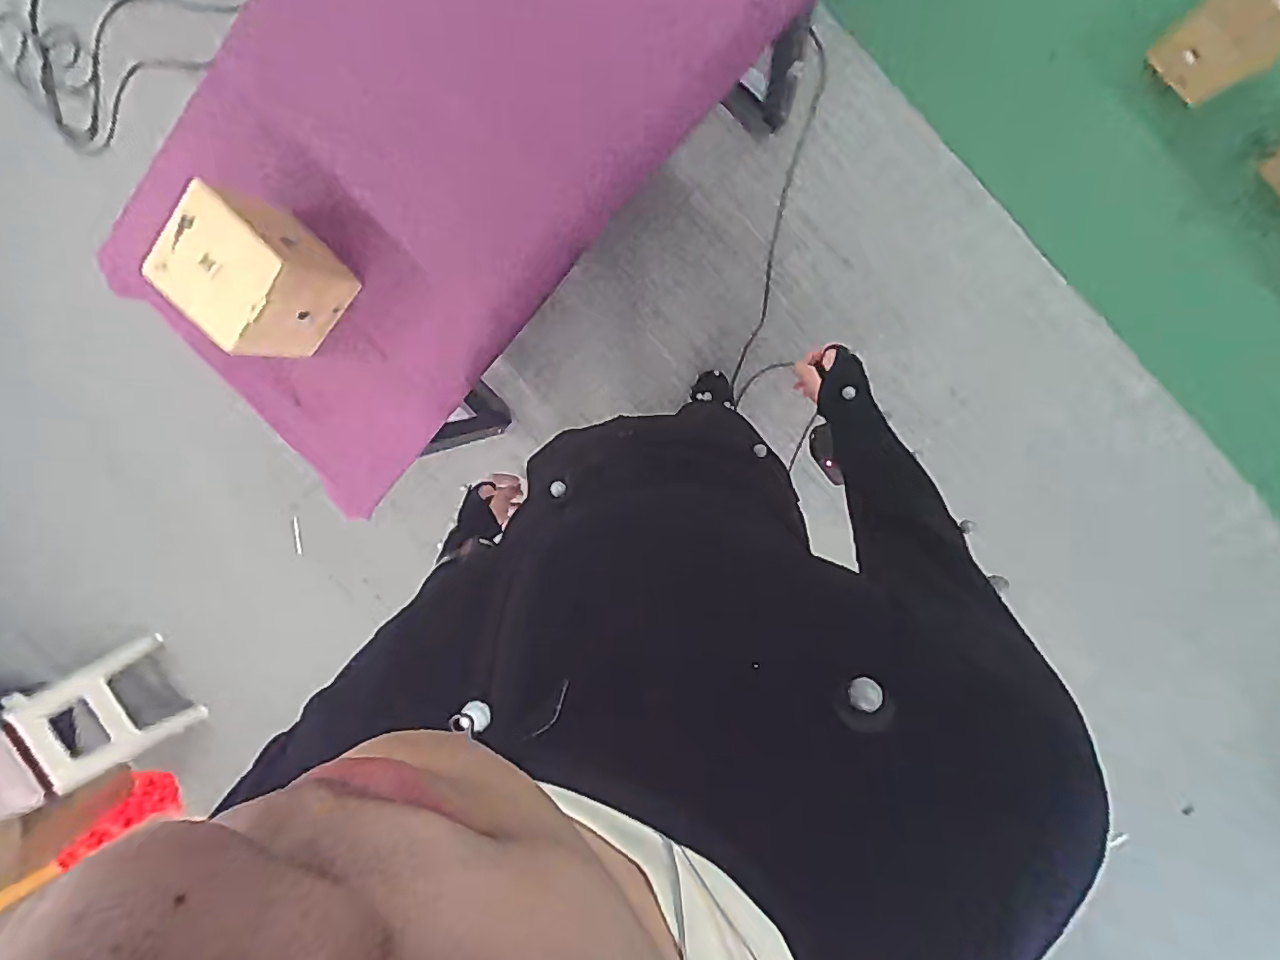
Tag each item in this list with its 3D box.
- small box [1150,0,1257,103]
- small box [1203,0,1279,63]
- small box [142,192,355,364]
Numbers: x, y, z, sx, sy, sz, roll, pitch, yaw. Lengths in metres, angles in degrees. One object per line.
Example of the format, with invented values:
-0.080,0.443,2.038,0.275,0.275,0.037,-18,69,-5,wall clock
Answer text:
1.269,-0.971,1.165,0.168,0.176,0.179,45,103,-1,small box
1.238,-0.940,1.007,0.179,0.176,0.168,45,104,-1,small box
-0.594,-0.302,0.843,0.179,0.176,0.168,44,104,-2,small box
